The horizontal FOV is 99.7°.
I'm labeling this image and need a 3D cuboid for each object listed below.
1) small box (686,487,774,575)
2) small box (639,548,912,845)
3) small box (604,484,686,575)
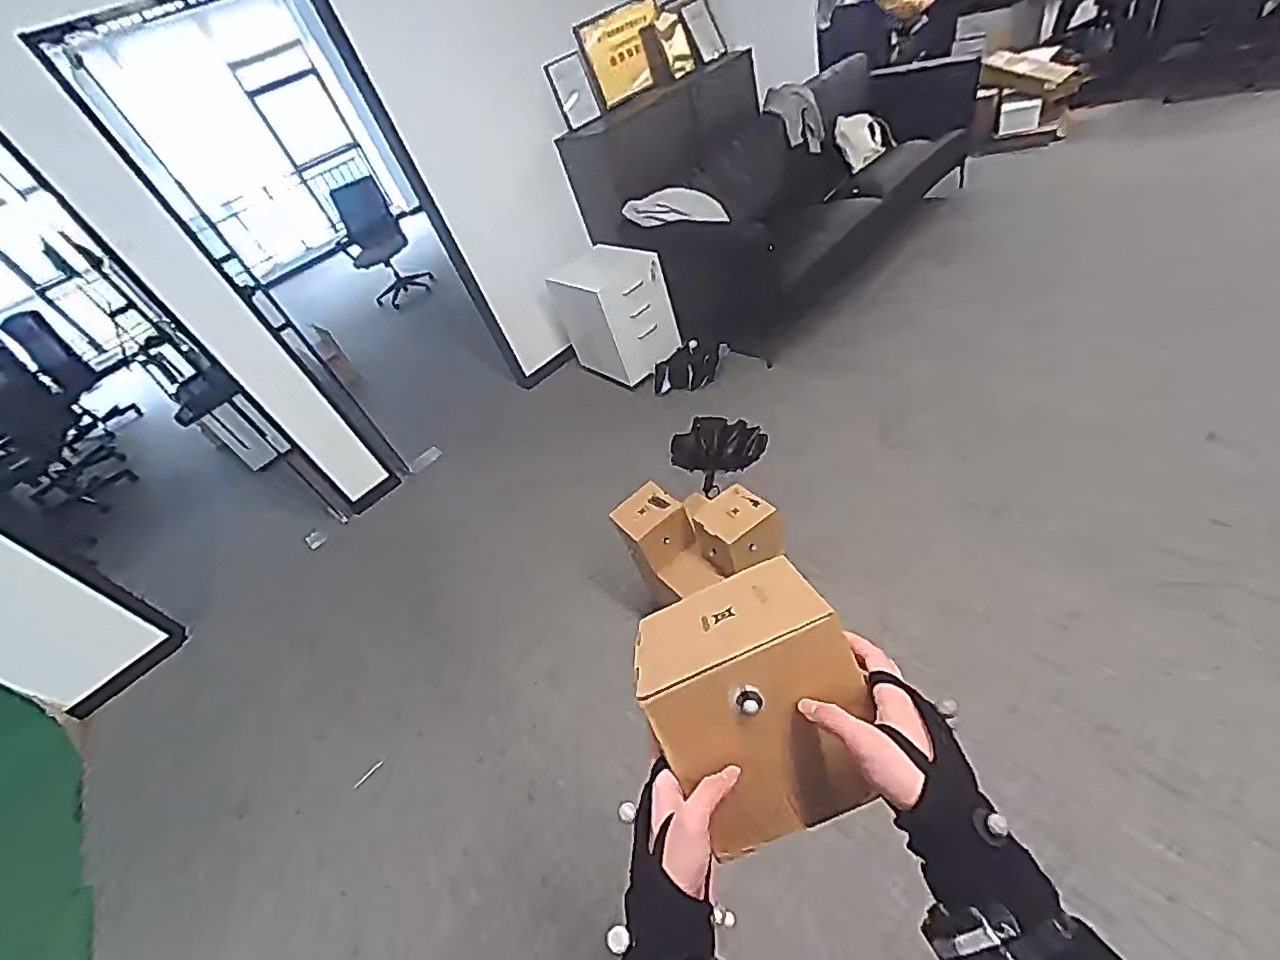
[{"bbox_3d":[0.261,0.158,1.533,0.179,0.176,0.168,-34,41,-17],"label":"small box"},{"bbox_3d":[0.112,0.190,0.505,0.179,0.176,0.168,-24,7,2],"label":"small box"},{"bbox_3d":[0.023,0.150,1.646,0.179,0.176,0.168,-38,42,-13],"label":"small box"}]
